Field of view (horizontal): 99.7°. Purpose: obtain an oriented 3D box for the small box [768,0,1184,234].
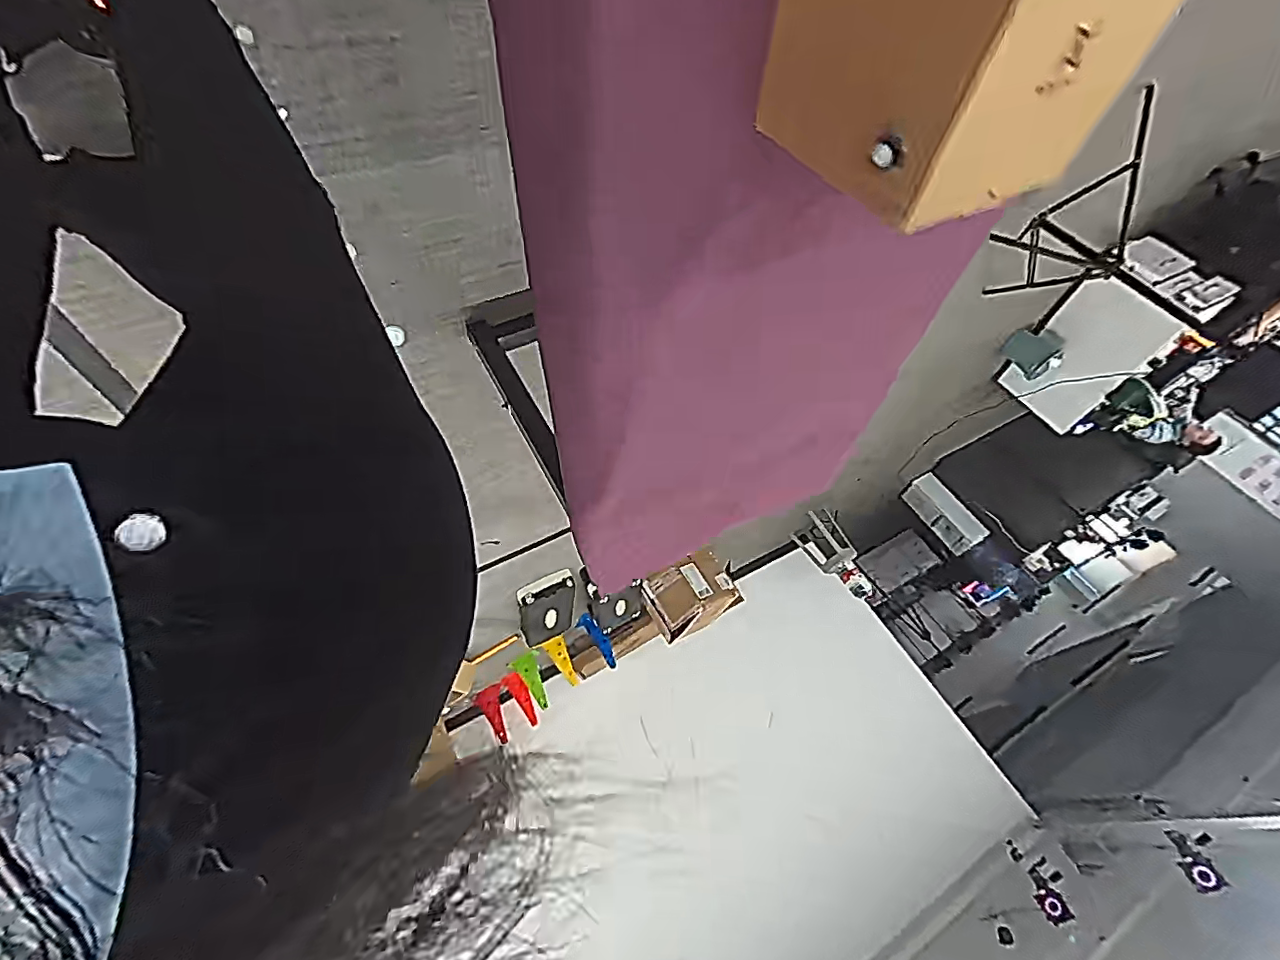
[{"bbox_3d":[0.208,-0.301,0.347,0.168,0.176,0.179,-25,153,-17],"label":"small box"}]
